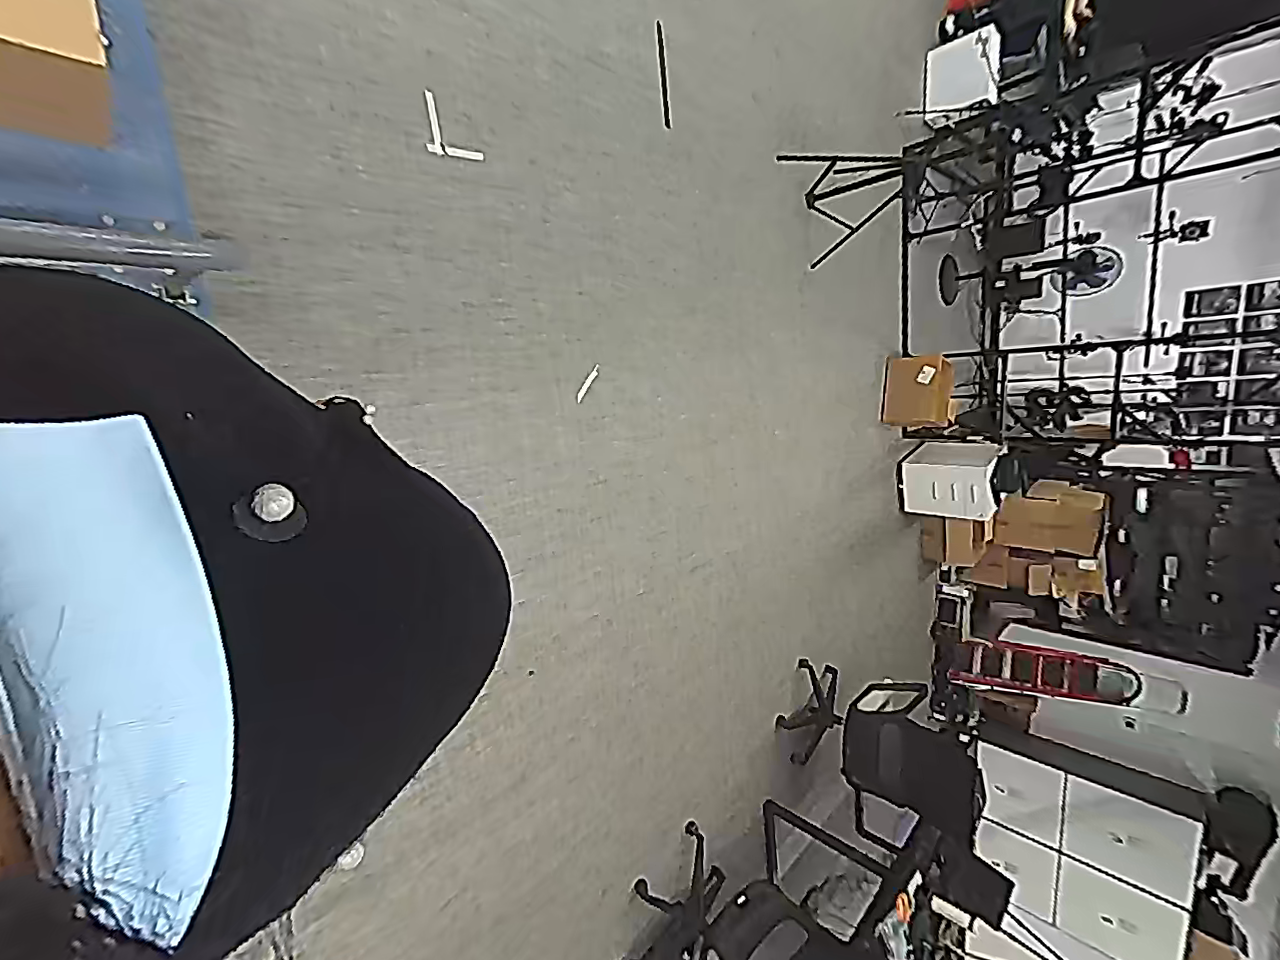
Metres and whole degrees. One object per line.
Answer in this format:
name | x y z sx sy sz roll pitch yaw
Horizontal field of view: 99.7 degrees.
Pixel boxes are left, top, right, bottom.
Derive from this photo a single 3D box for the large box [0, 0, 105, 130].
large box | -0.976 -0.701 0.670 0.408 0.320 0.320 -12 102 -43
